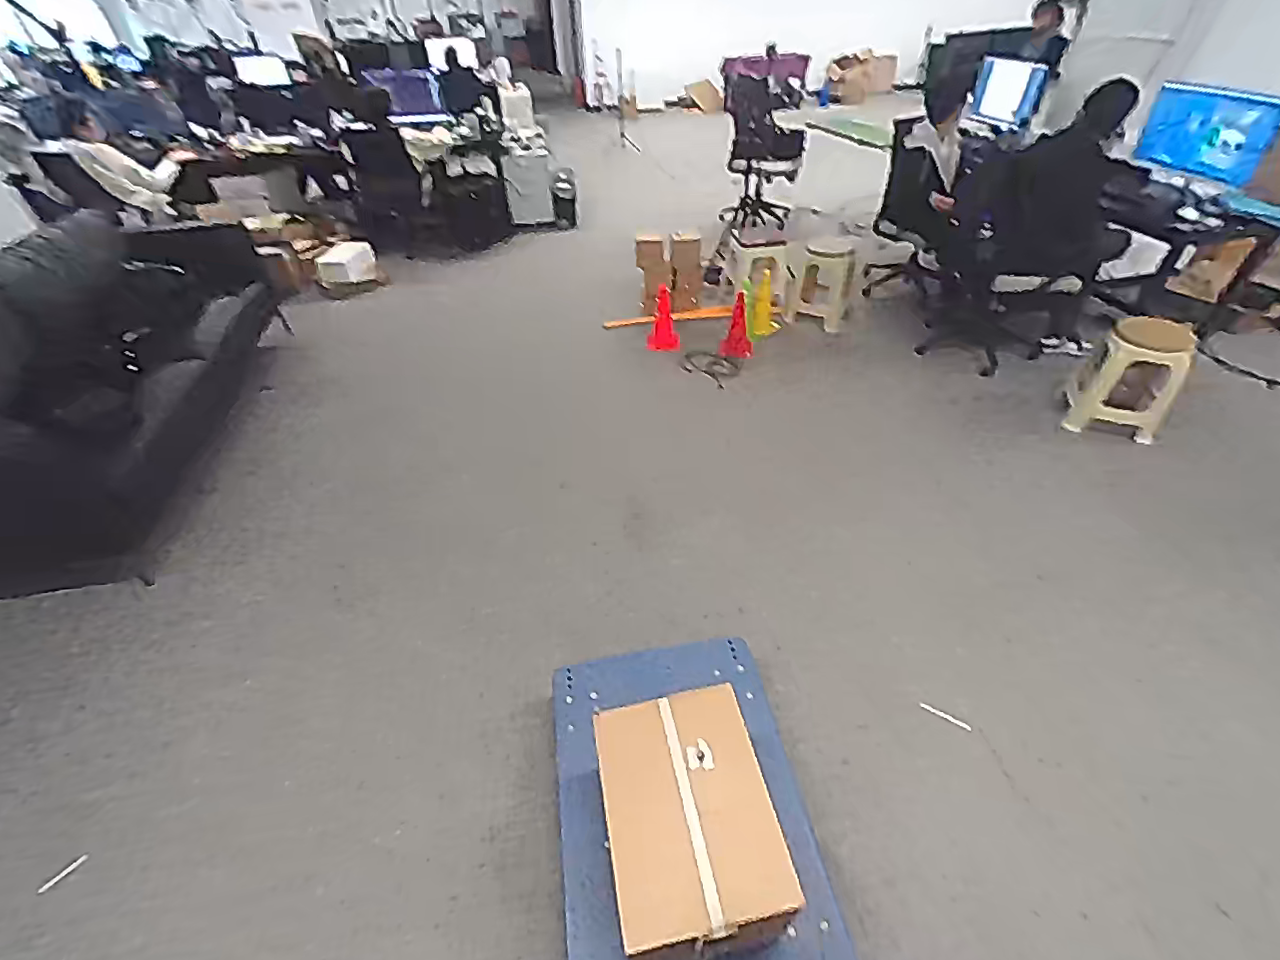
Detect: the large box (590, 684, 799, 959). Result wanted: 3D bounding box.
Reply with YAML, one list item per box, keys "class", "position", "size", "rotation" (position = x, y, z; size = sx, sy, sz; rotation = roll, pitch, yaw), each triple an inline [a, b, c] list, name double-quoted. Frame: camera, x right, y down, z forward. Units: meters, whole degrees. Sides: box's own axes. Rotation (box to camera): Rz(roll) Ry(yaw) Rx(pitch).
- class: "large box"
  position: [0.093, 0.721, 1.145]
  size: [0.320, 0.320, 0.408]
  rotation: [-10, 43, -7]
